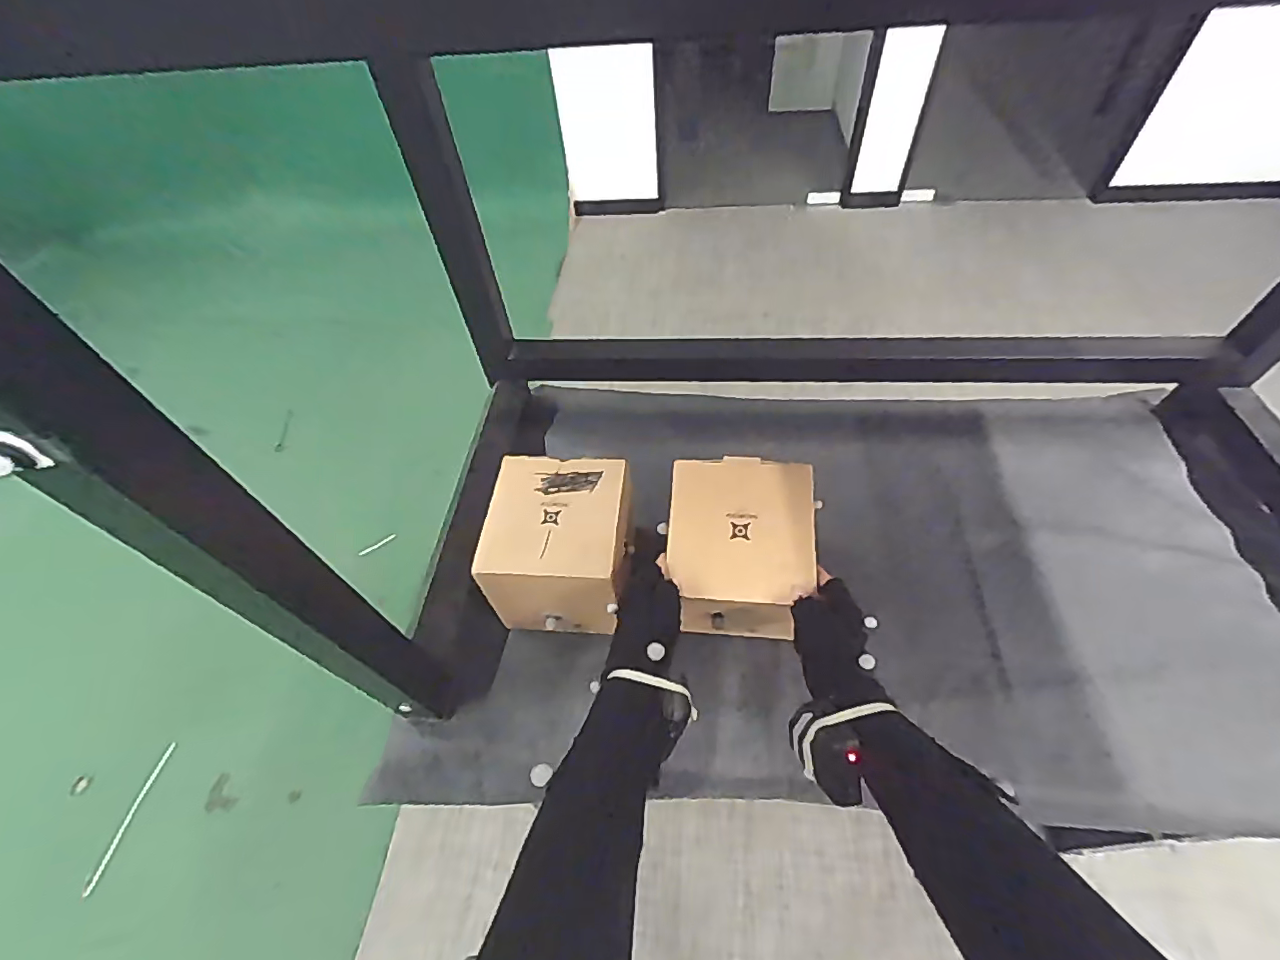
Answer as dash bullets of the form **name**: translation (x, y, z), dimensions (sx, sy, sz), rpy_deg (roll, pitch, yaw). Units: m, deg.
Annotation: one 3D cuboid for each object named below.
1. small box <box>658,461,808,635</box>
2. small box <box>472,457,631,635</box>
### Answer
- **small box**: translation (0.119, 0.093, 0.696), dimensions (0.168, 0.176, 0.179), rpy_deg (2, 61, 9)
- **small box**: translation (-0.104, 0.090, 0.733), dimensions (0.168, 0.176, 0.179), rpy_deg (2, 53, 6)
